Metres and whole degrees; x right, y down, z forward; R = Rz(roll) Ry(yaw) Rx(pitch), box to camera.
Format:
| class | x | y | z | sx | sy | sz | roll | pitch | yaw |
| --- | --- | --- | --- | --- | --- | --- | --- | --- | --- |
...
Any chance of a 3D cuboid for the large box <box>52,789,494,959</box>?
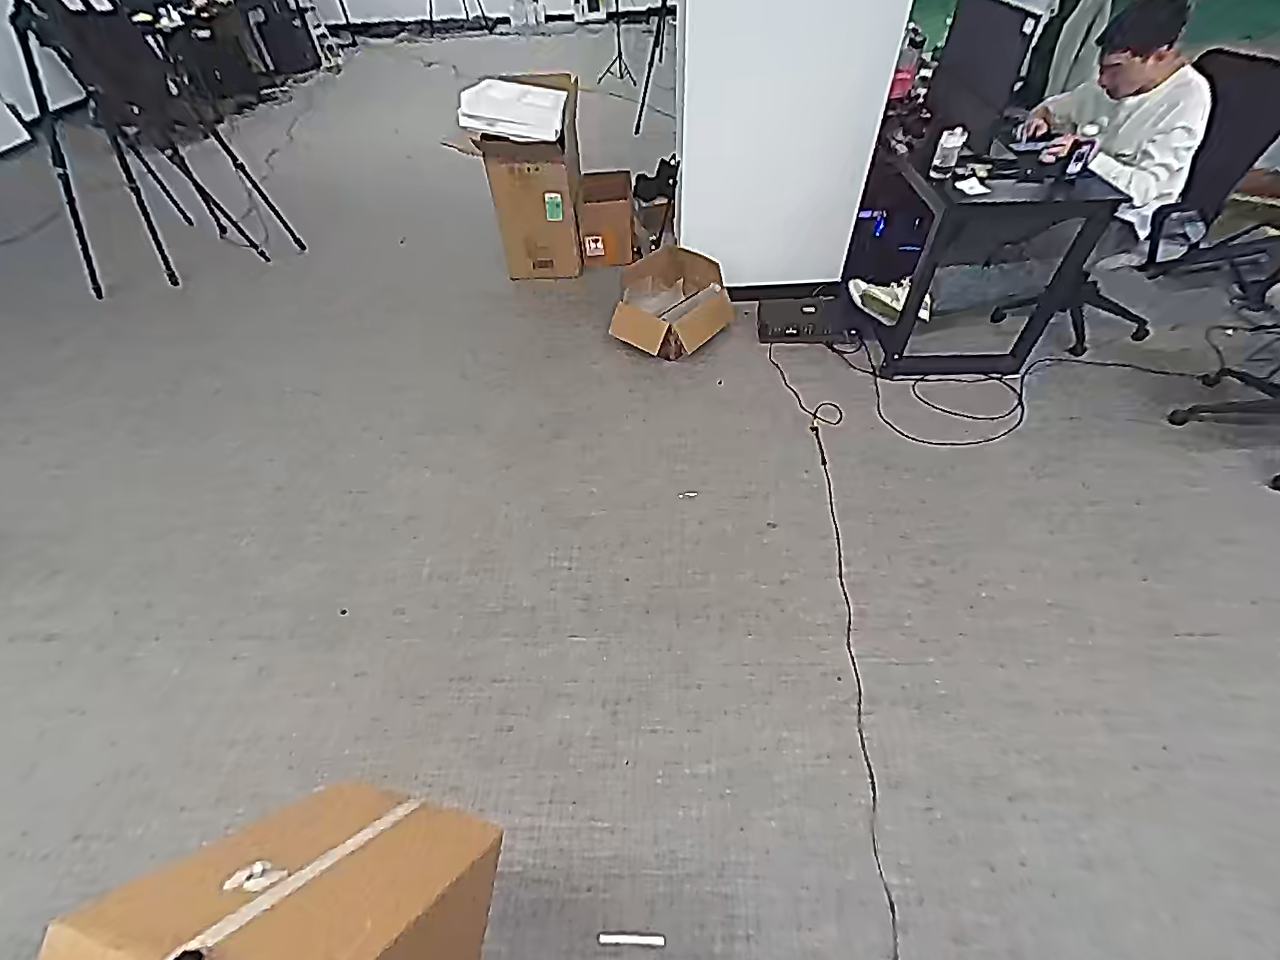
| class | x | y | z | sx | sy | sz | roll | pitch | yaw |
| --- | --- | --- | --- | --- | --- | --- | --- | --- | --- |
| large box | -0.444 | 0.671 | 0.692 | 0.320 | 0.408 | 0.320 | 7 | 82 | 15 |
